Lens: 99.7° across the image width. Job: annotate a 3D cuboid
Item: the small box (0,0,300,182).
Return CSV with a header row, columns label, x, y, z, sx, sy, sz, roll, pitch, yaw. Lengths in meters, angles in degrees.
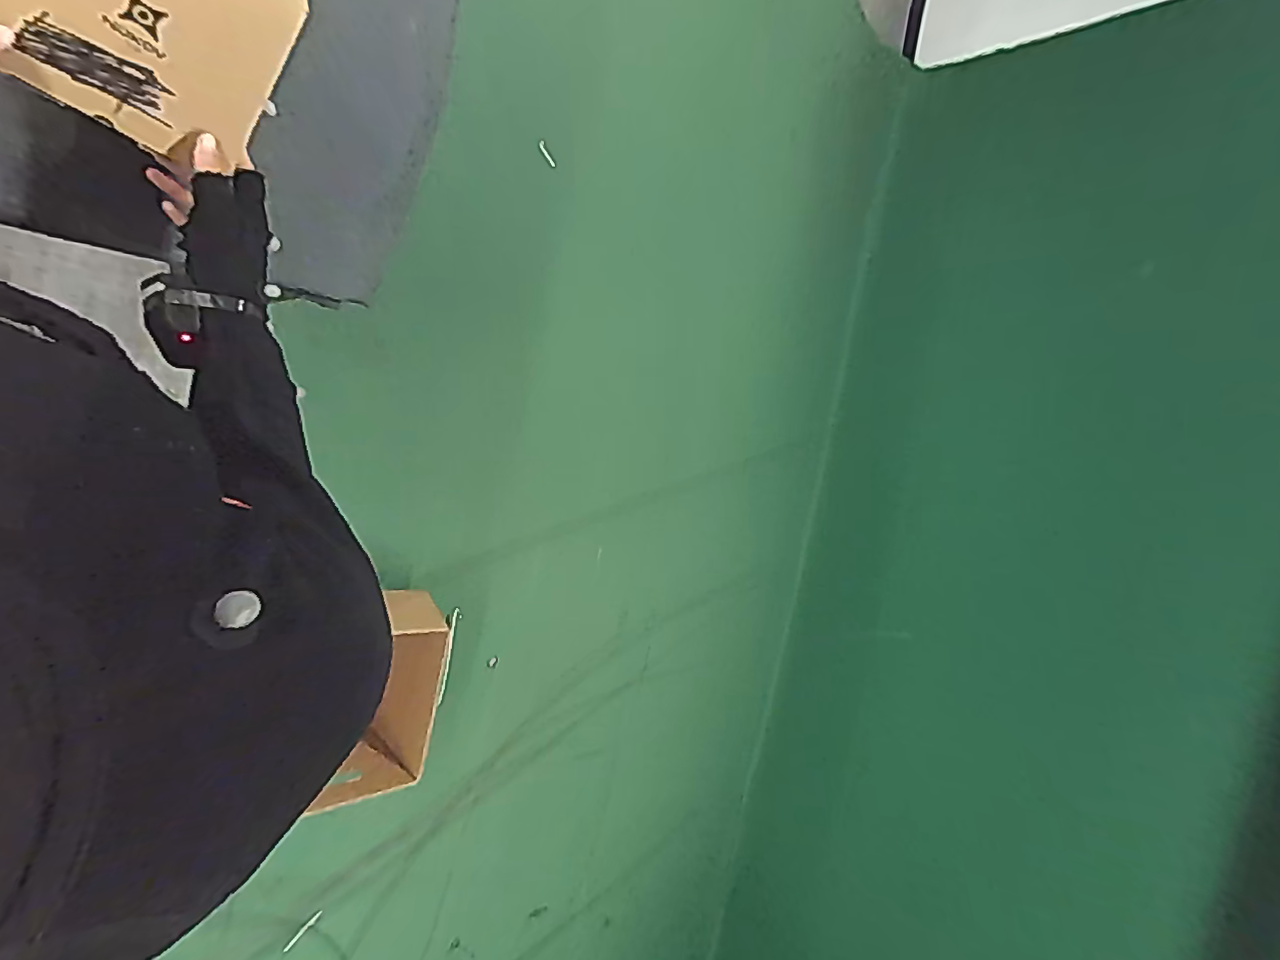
label,x,y,z,sx,sy,sz,roll,pitch,yaw
small box,-0.402,-0.399,0.439,0.179,0.176,0.168,-42,145,22
